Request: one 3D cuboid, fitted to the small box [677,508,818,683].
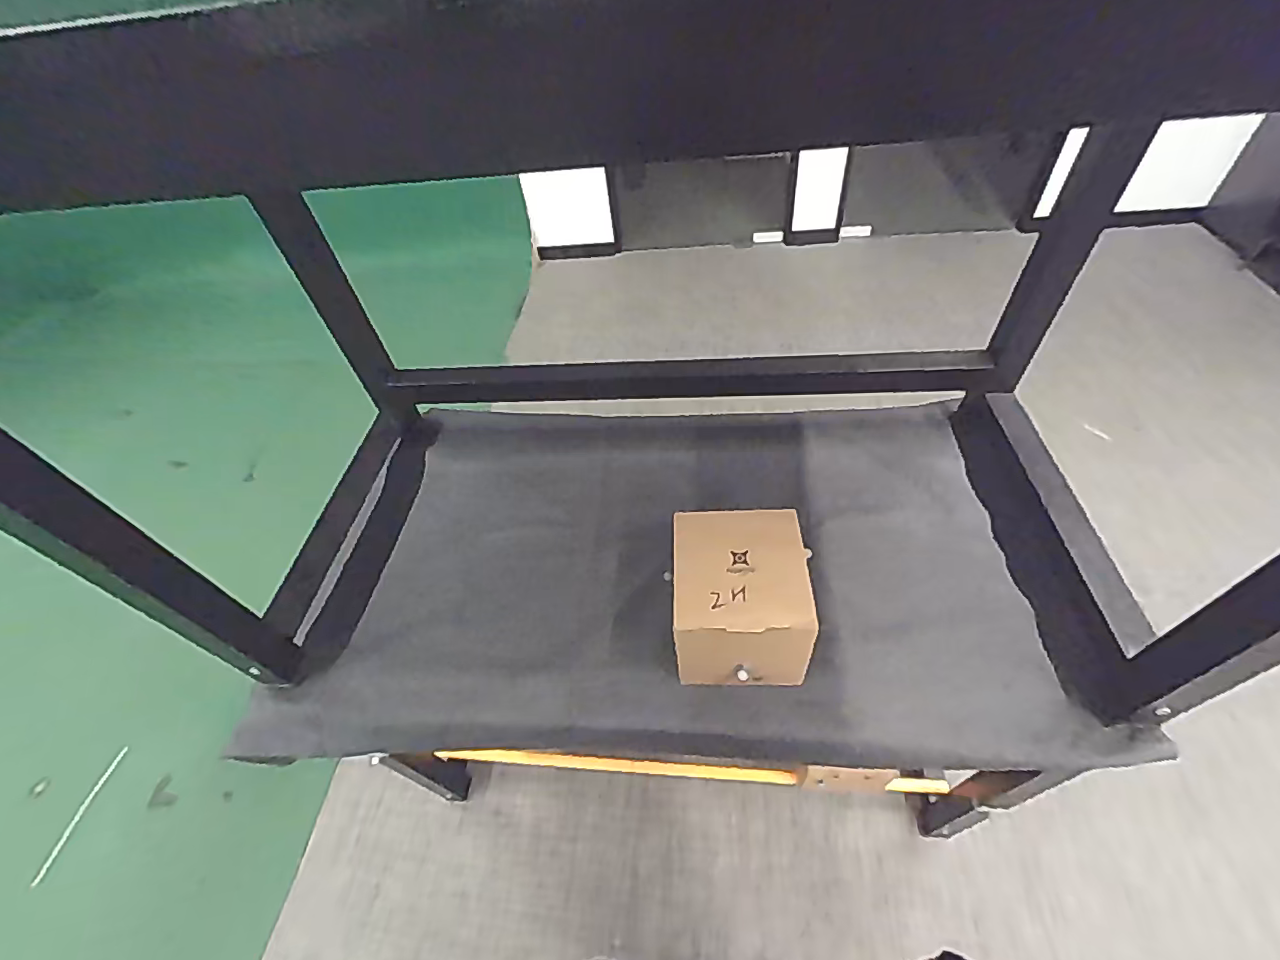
[{"bbox_3d":[0.136,0.158,0.741,0.168,0.176,0.179,-2,48,6],"label":"small box"}]
